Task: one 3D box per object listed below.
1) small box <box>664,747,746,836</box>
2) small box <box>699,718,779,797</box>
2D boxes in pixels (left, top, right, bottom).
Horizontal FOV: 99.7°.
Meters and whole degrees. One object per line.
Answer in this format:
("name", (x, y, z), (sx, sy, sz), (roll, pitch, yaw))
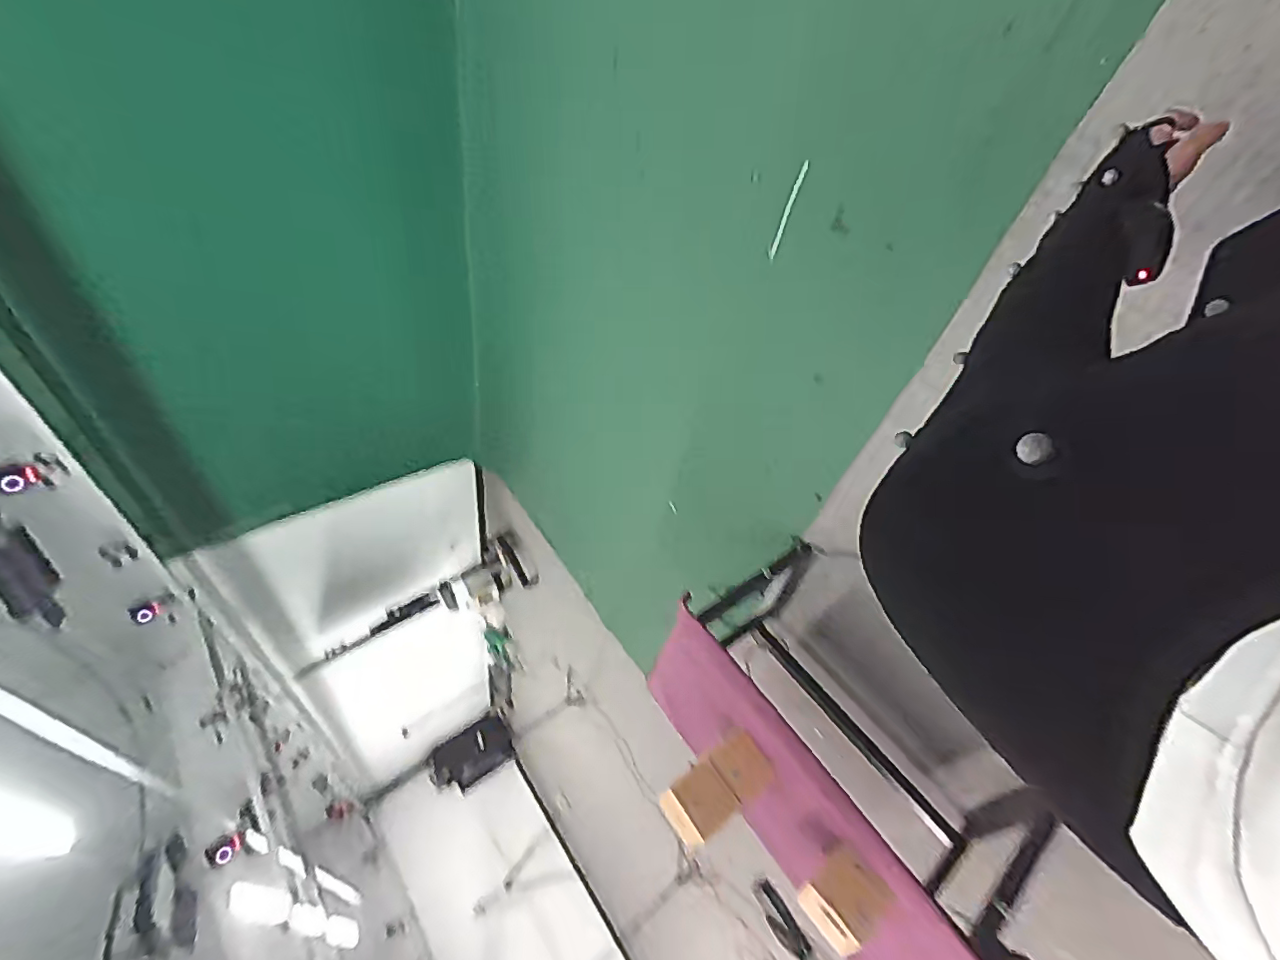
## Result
("small box", (0.210, 0.999, 1.735), (0.179, 0.176, 0.168), (51, 146, 22))
("small box", (0.334, 0.940, 1.822), (0.179, 0.176, 0.168), (52, 147, 22))
